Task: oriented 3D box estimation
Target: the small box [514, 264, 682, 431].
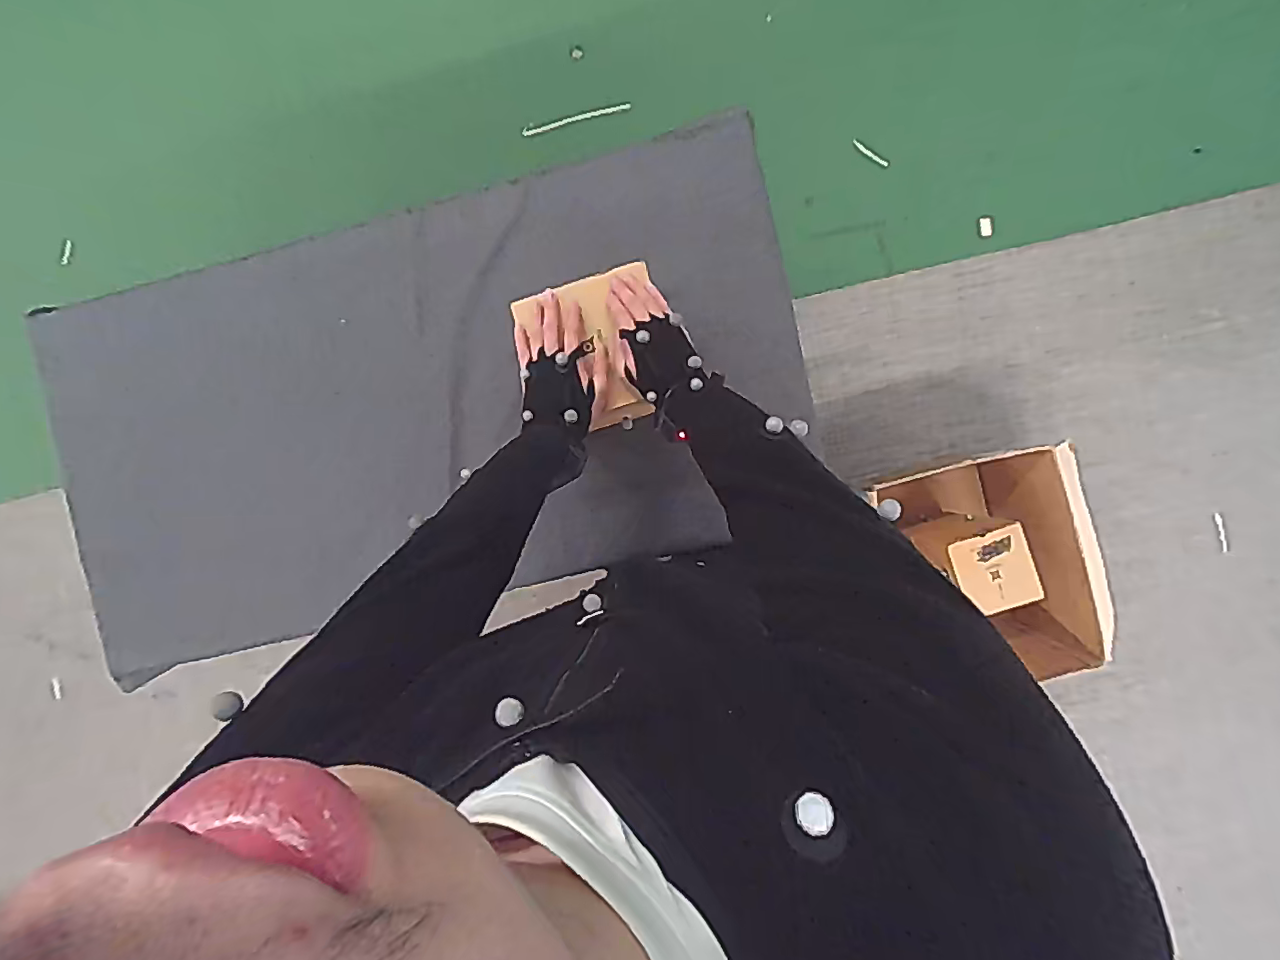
[{"bbox_3d":[-0.050,-0.172,0.758,0.179,0.176,0.168,-19,92,5],"label":"small box"}]
